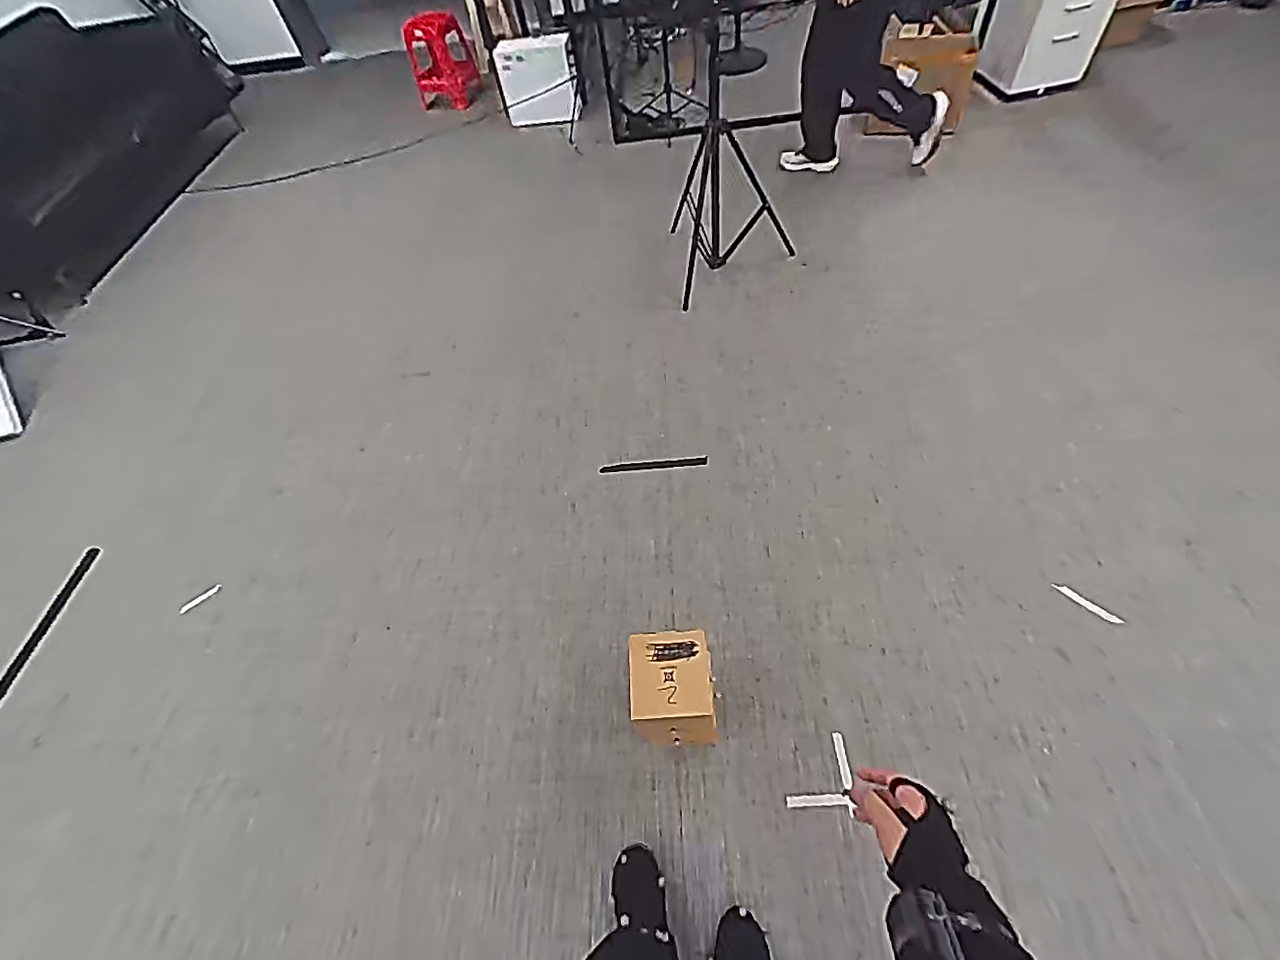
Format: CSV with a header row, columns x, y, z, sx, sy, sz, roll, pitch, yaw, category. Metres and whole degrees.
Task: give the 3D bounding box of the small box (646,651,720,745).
x,y,z,sx,sy,sz,roll,pitch,yaw,category
0.103,0.532,1.315,0.168,0.176,0.179,-5,55,5,small box
